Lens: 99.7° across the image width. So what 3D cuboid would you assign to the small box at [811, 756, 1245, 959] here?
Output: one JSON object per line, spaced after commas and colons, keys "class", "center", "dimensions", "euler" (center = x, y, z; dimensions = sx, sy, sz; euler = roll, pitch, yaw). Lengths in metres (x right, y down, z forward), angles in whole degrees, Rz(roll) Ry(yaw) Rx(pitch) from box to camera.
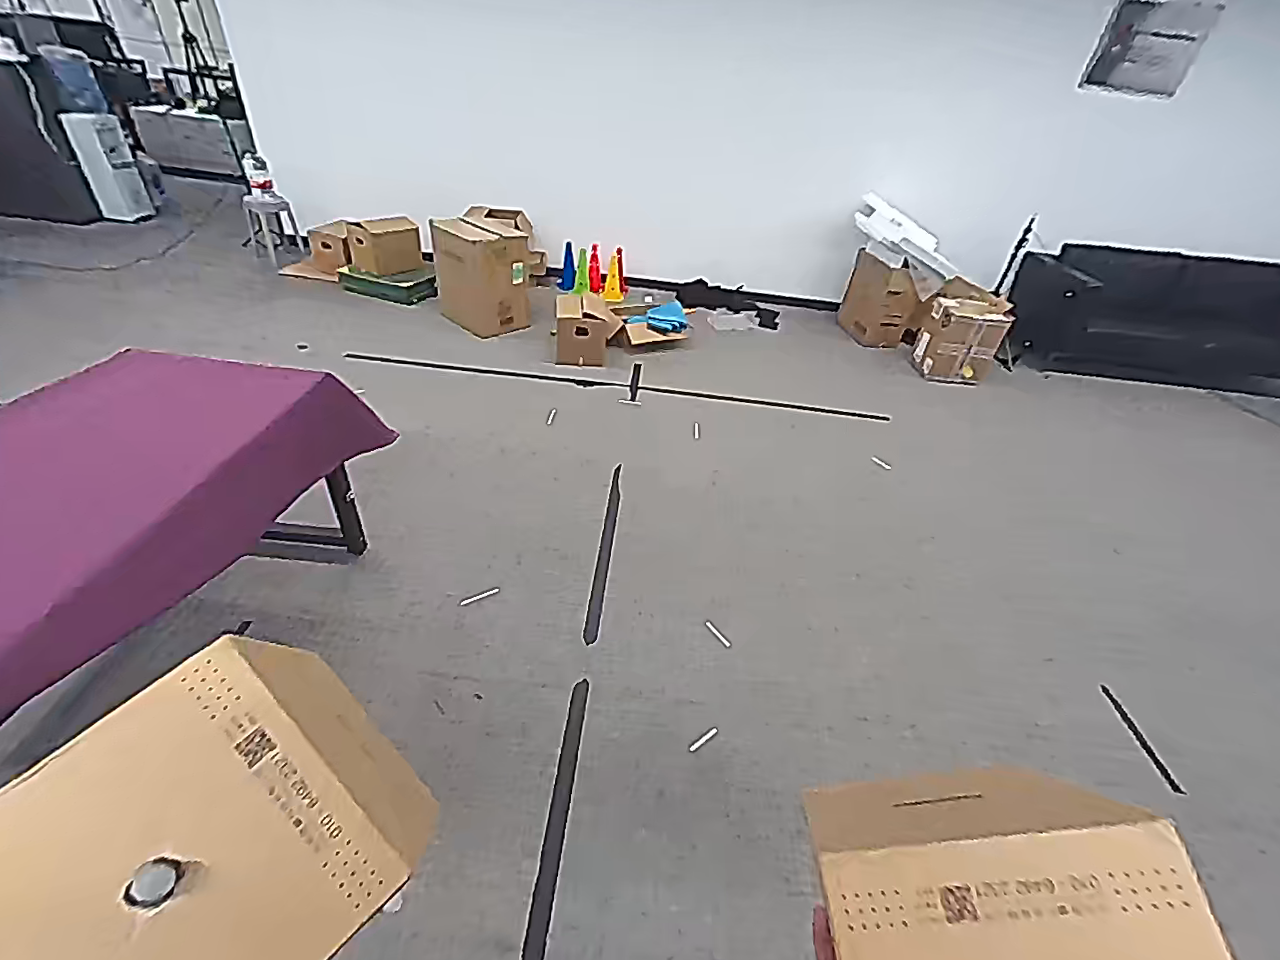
{"class": "small box", "center": [0.201, 0.268, 0.305], "dimensions": [0.168, 0.179, 0.176], "euler": [-11, 69, 10]}
